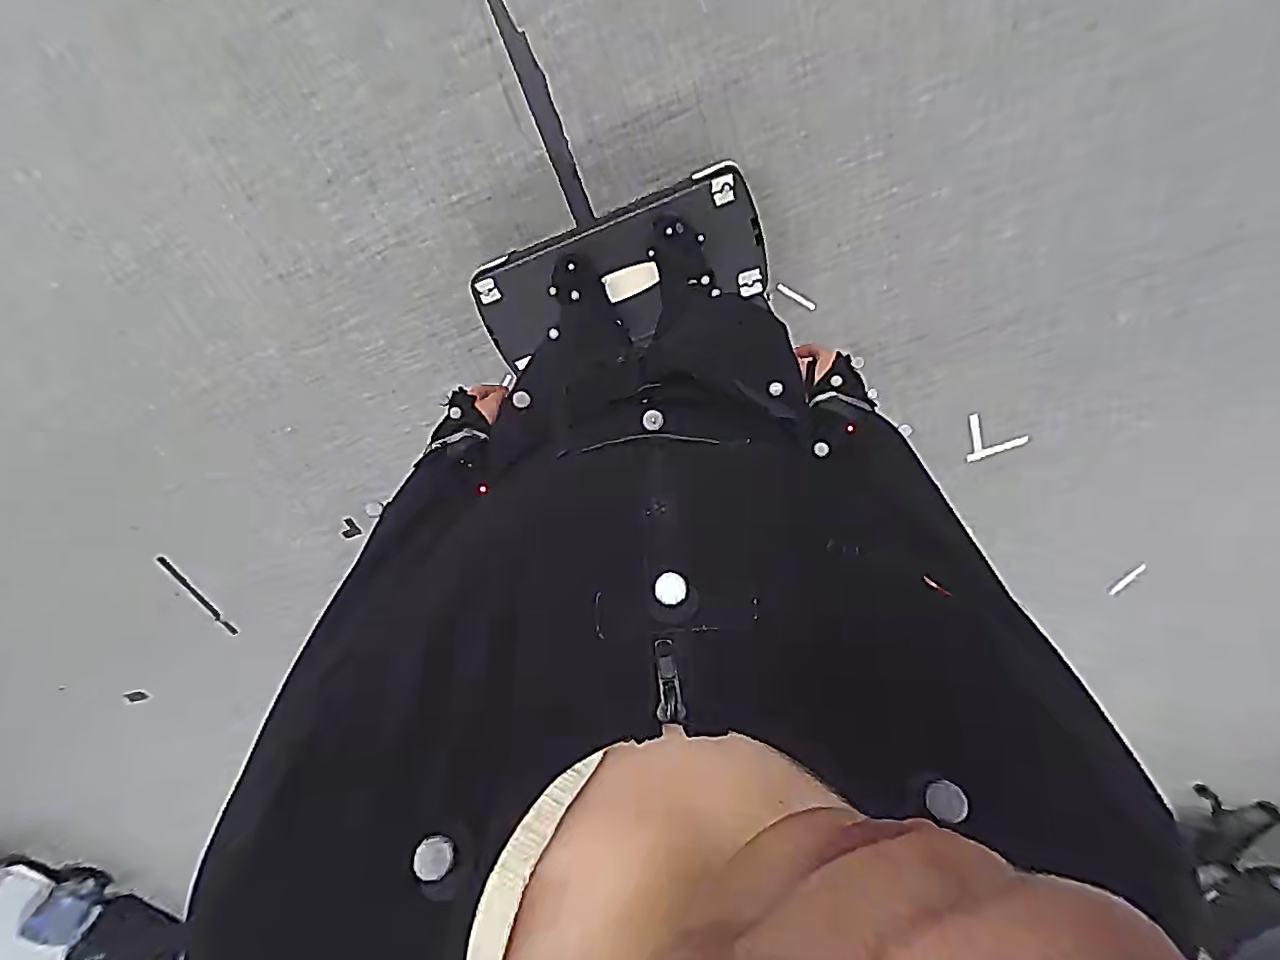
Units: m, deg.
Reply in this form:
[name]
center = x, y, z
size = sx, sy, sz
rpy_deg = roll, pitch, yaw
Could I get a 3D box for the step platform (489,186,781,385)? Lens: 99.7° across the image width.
[step platform]
center = -0.012, -0.462, 1.314
size = 0.684, 0.204, 0.286
rpy_deg = -15, 118, 8
